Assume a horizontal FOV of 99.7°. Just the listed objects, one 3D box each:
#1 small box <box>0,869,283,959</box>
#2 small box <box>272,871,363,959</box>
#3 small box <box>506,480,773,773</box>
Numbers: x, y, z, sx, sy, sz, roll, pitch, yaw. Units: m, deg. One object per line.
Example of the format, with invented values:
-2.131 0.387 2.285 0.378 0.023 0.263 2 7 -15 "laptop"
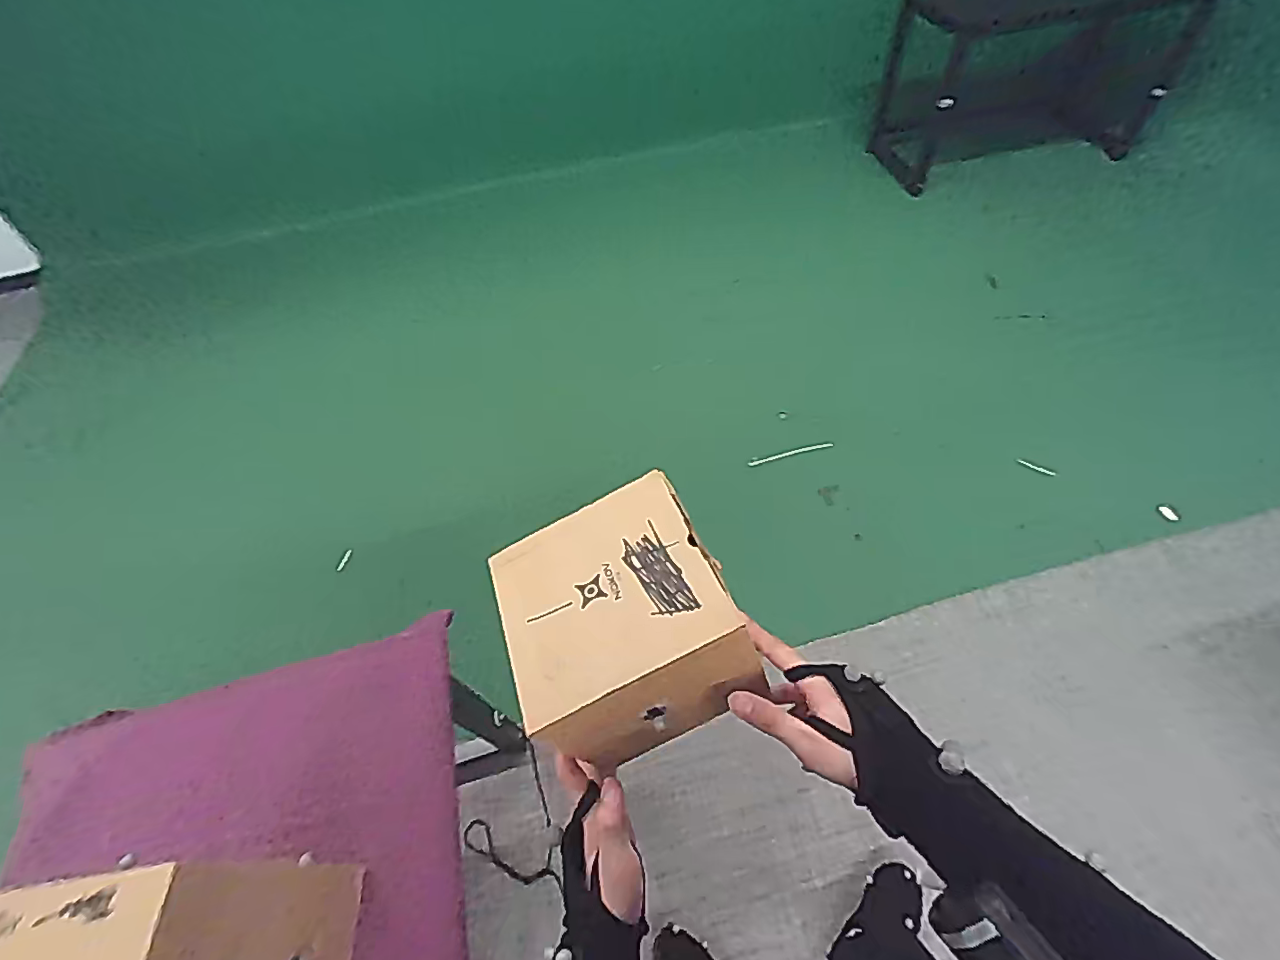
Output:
-0.459 0.467 0.480 0.168 0.176 0.179 -9 56 -1 "small box"
-0.446 0.560 0.613 0.168 0.176 0.179 -7 54 1 "small box"
0.007 0.137 0.488 0.179 0.176 0.168 -27 50 1 "small box"
